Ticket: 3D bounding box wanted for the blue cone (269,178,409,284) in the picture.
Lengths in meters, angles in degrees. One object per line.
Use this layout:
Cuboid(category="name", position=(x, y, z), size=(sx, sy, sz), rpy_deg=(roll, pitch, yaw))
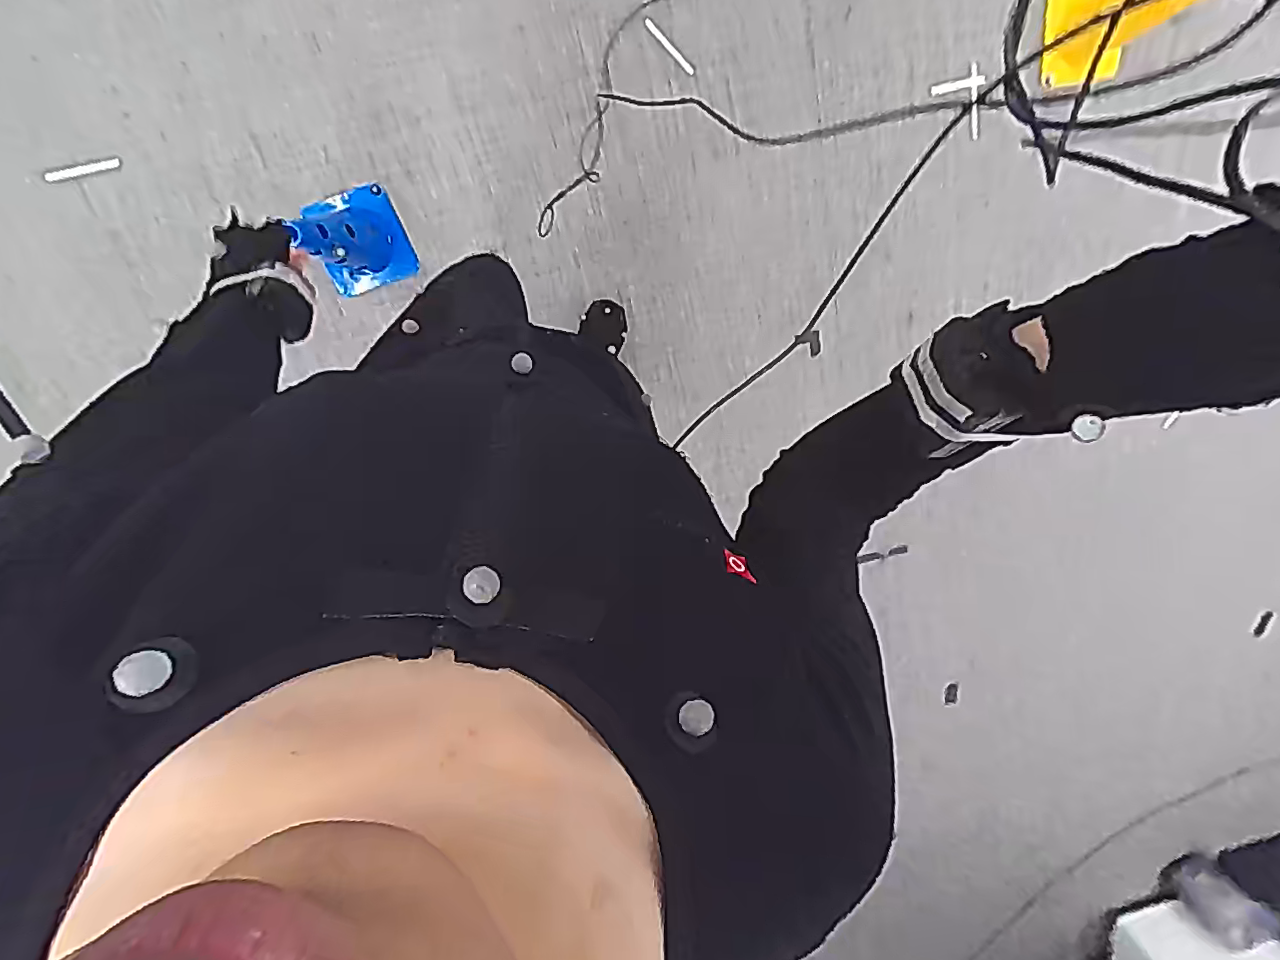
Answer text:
Cuboid(category="blue cone", position=(-0.619, -0.498, 1.072), size=(0.193, 0.380, 0.192), rpy_deg=(-19, 112, 0))
